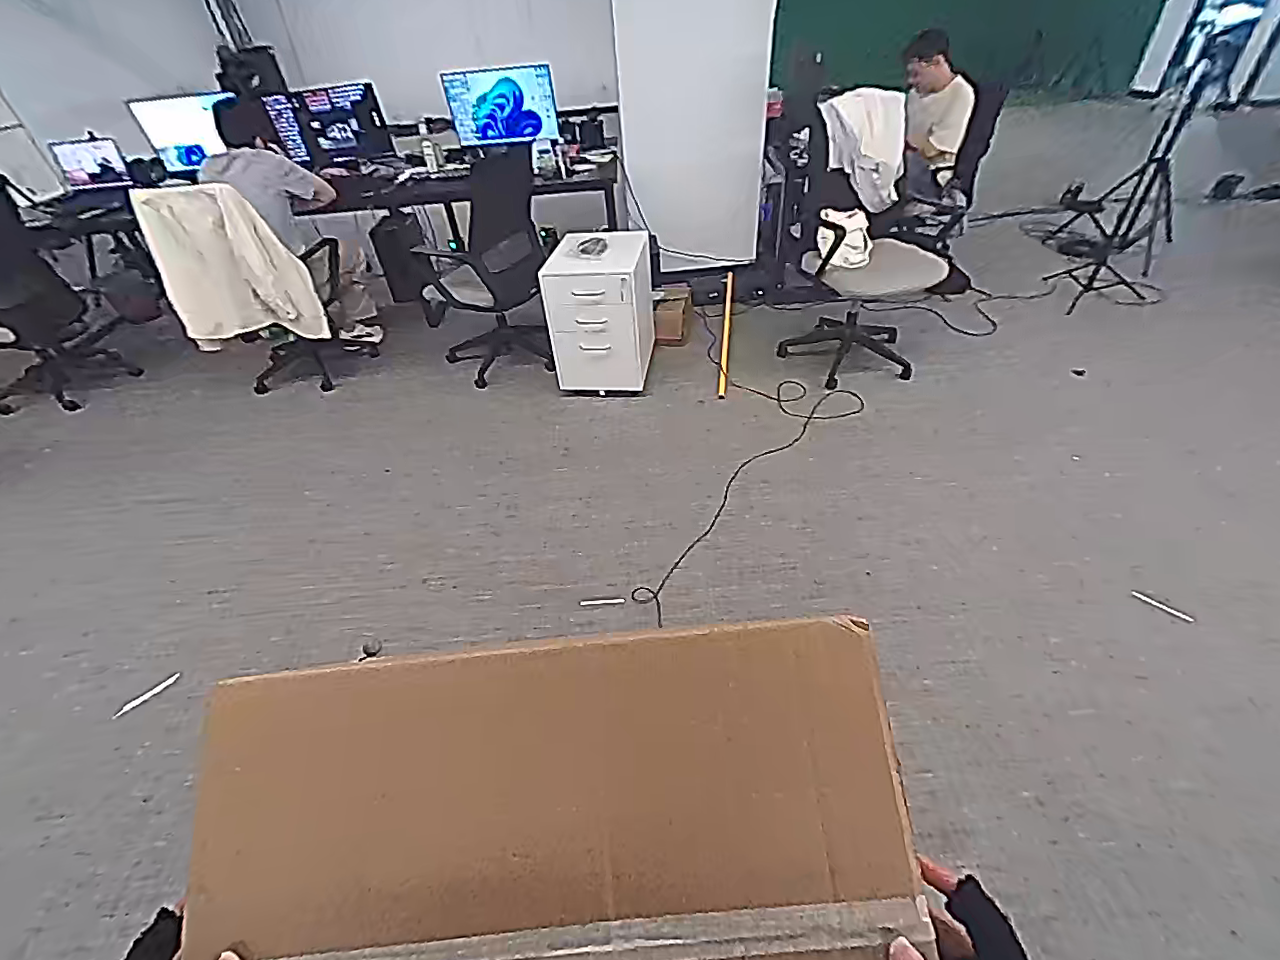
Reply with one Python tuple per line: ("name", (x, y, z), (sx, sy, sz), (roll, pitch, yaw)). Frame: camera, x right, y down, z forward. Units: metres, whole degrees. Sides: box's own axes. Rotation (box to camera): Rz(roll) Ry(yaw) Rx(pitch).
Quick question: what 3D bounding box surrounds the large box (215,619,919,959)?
("large box", (-0.041, 0.296, 0.447), (0.408, 0.320, 0.320), (-6, 76, 1))
